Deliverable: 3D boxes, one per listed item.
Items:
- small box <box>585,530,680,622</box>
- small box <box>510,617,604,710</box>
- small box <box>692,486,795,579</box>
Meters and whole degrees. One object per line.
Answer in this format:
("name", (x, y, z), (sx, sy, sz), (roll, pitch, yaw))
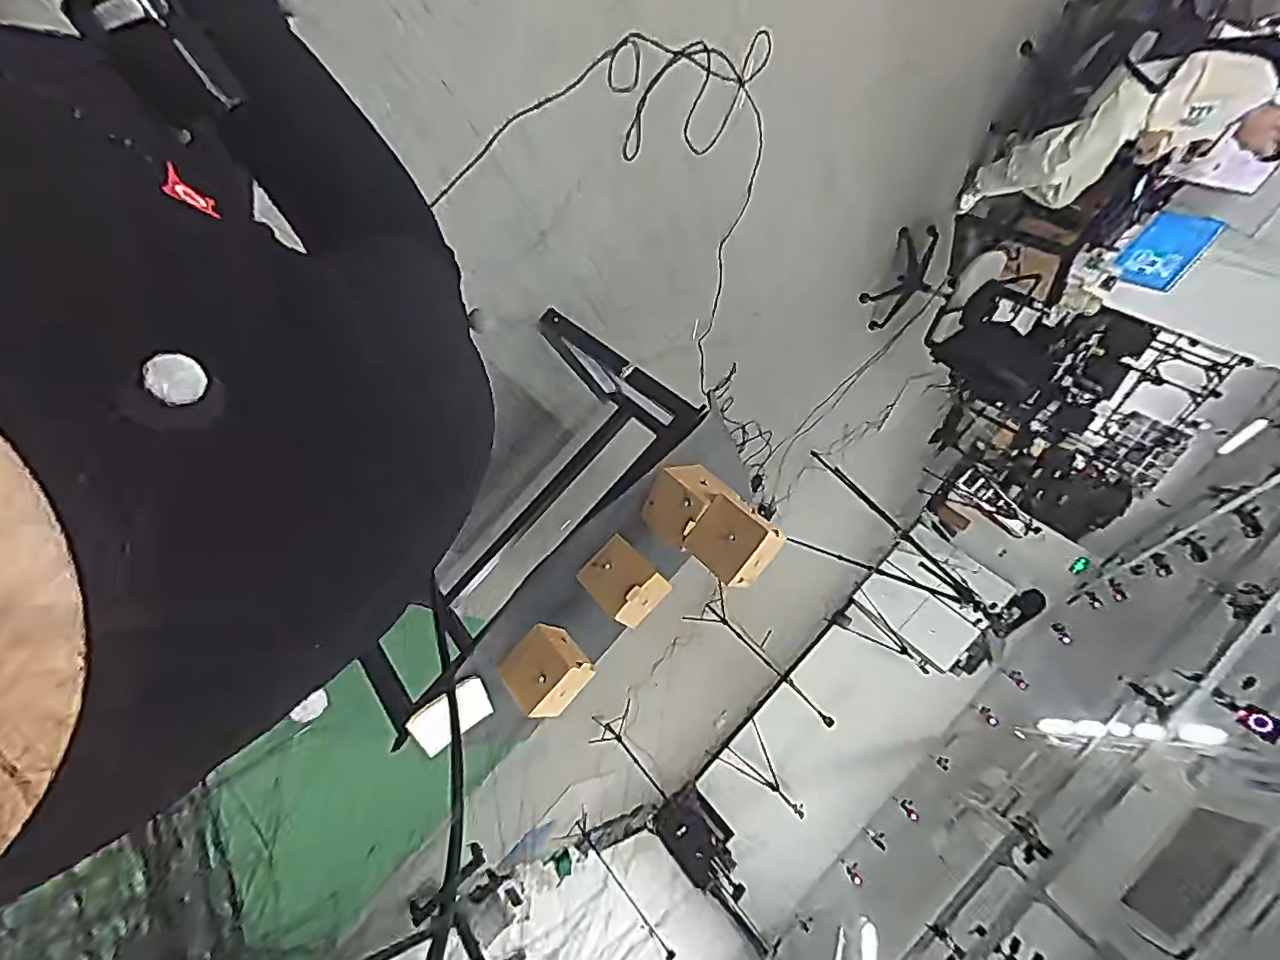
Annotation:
("small box", (-0.020, 0.265, 1.507), (0.168, 0.176, 0.179), (-47, 149, -5))
("small box", (-0.238, 0.514, 1.508), (0.179, 0.176, 0.168), (-49, 149, -2))
("small box", (0.267, 0.138, 1.411), (0.179, 0.176, 0.168), (-56, 148, 9))
